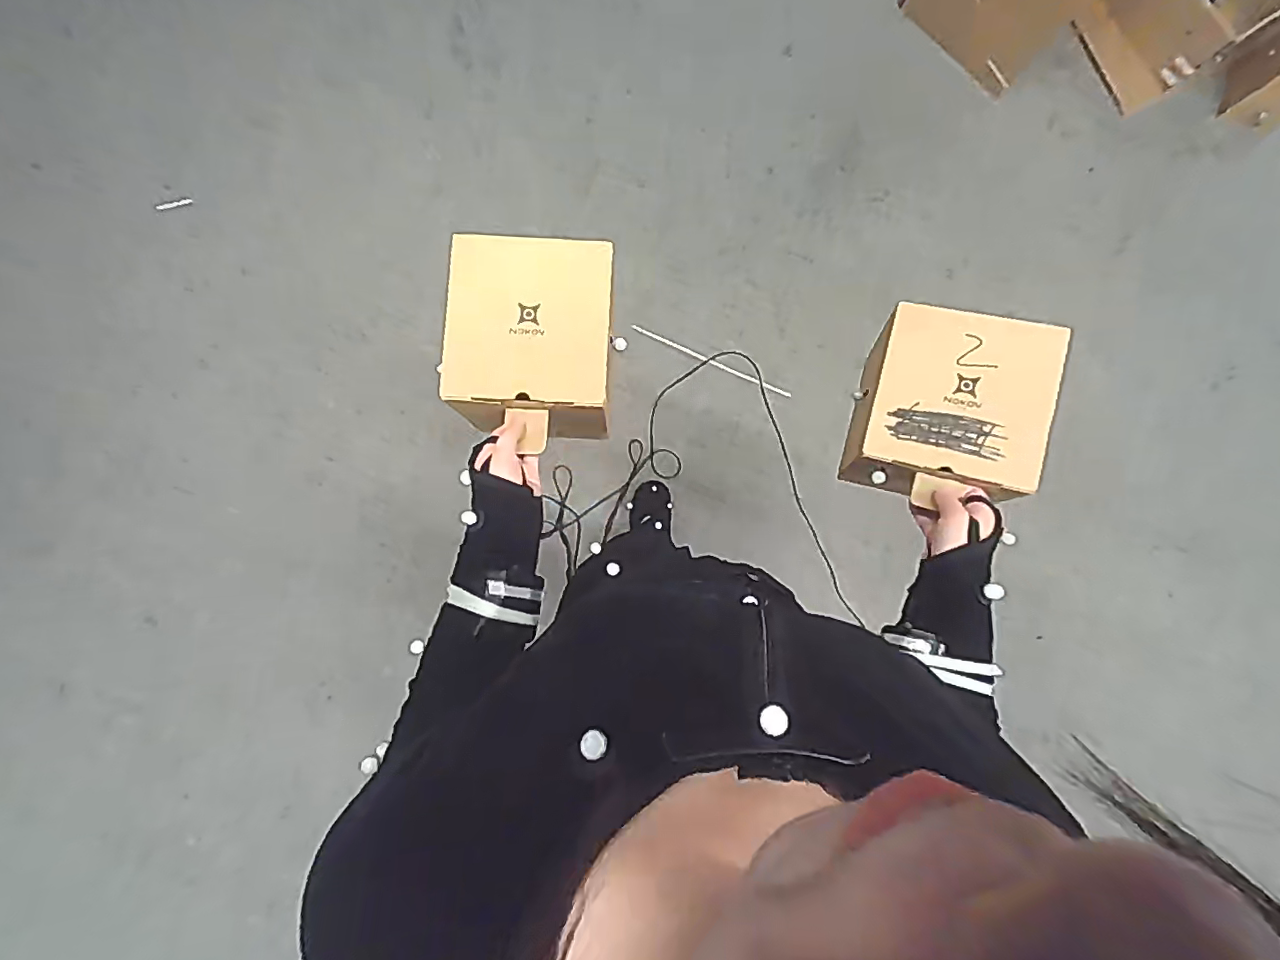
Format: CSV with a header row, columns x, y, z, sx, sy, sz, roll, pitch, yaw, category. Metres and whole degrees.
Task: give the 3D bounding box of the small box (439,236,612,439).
x,y,z,sx,sy,sz,roll,pitch,yaw,category
-0.119,-0.153,0.632,0.168,0.176,0.179,3,84,-1,small box
